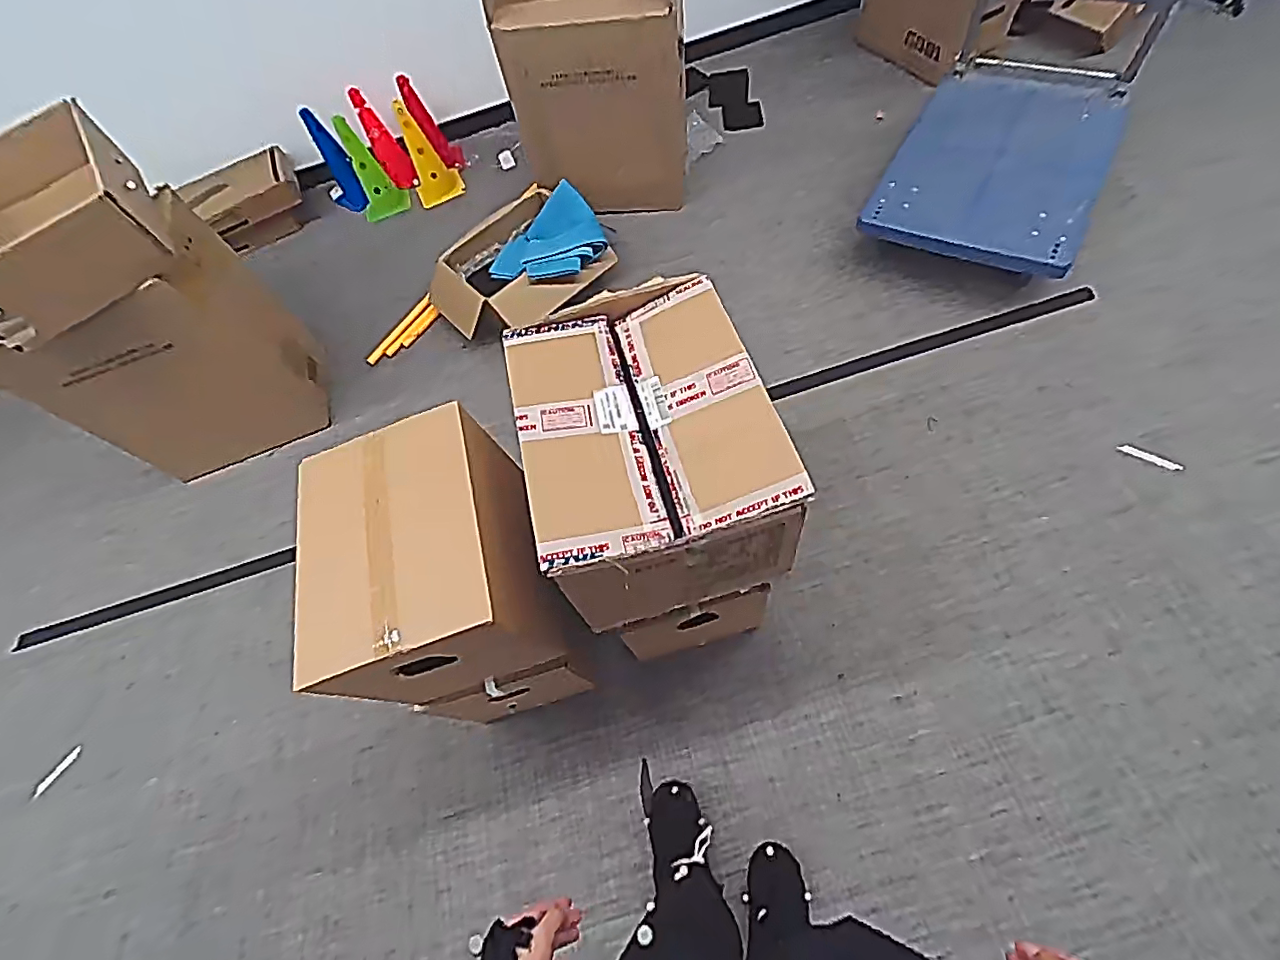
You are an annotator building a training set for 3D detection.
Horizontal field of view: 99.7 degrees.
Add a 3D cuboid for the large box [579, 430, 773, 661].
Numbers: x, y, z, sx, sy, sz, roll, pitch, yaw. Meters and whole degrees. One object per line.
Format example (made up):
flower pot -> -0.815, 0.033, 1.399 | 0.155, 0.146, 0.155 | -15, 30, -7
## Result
large box -> 0.078, 0.160, 1.269 | 0.320, 0.320, 0.408 | -18, 61, 0
